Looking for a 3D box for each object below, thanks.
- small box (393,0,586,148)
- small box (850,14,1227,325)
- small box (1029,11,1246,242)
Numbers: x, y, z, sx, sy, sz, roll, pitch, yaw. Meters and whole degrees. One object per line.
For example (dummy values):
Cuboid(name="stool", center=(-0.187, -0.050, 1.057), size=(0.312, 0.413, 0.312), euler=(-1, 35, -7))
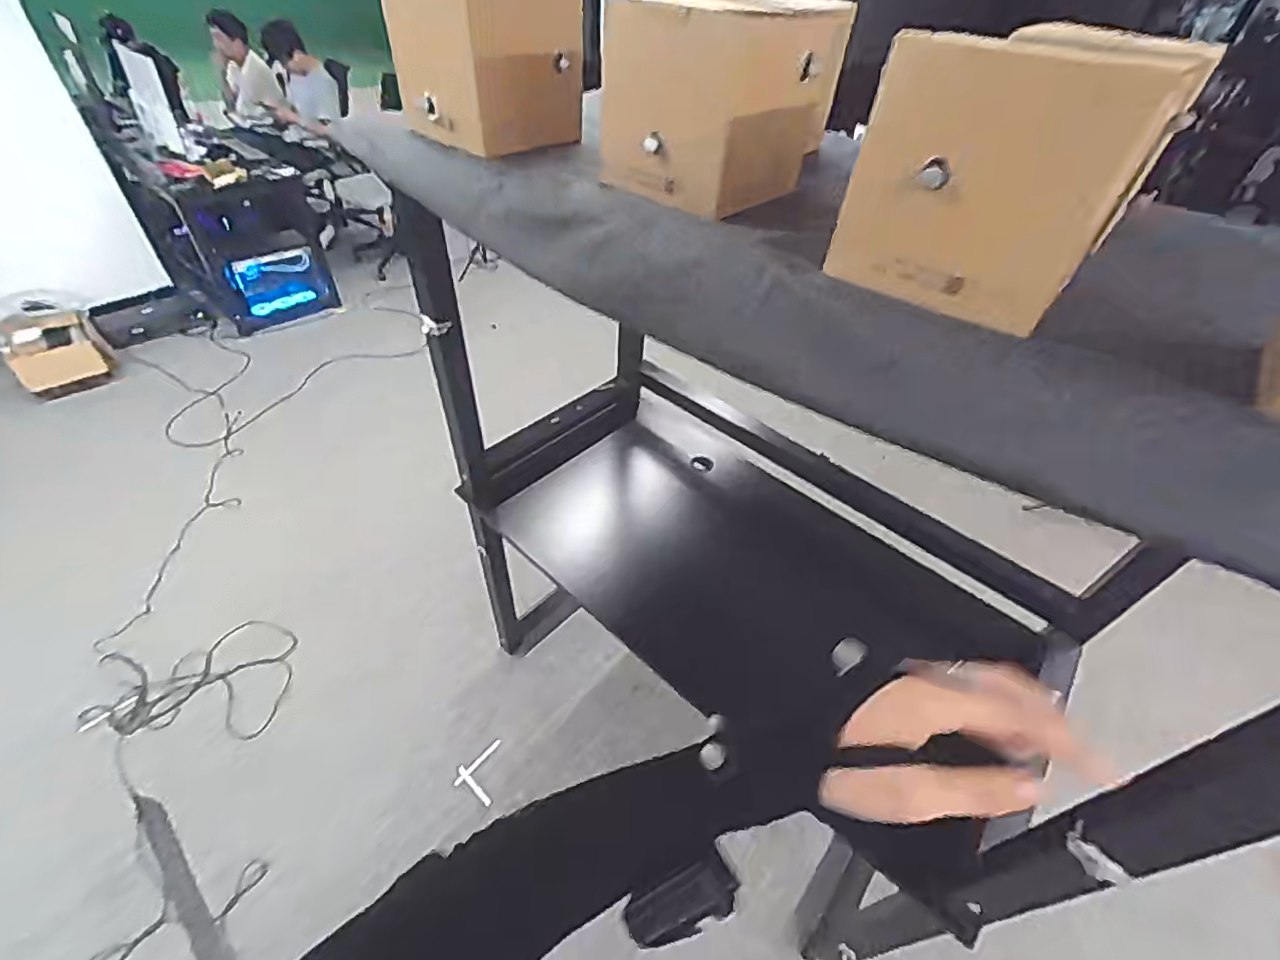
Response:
Cuboid(name="small box", center=(-0.186, -0.536, 0.675), size=(0.168, 0.176, 0.179), euler=(32, 50, 25))
Cuboid(name="small box", center=(0.287, -0.241, 0.419), size=(0.168, 0.176, 0.179), euler=(33, 48, 26))
Cuboid(name="small box", center=(0.474, -0.375, 0.575), size=(0.168, 0.176, 0.179), euler=(33, 50, 26))
